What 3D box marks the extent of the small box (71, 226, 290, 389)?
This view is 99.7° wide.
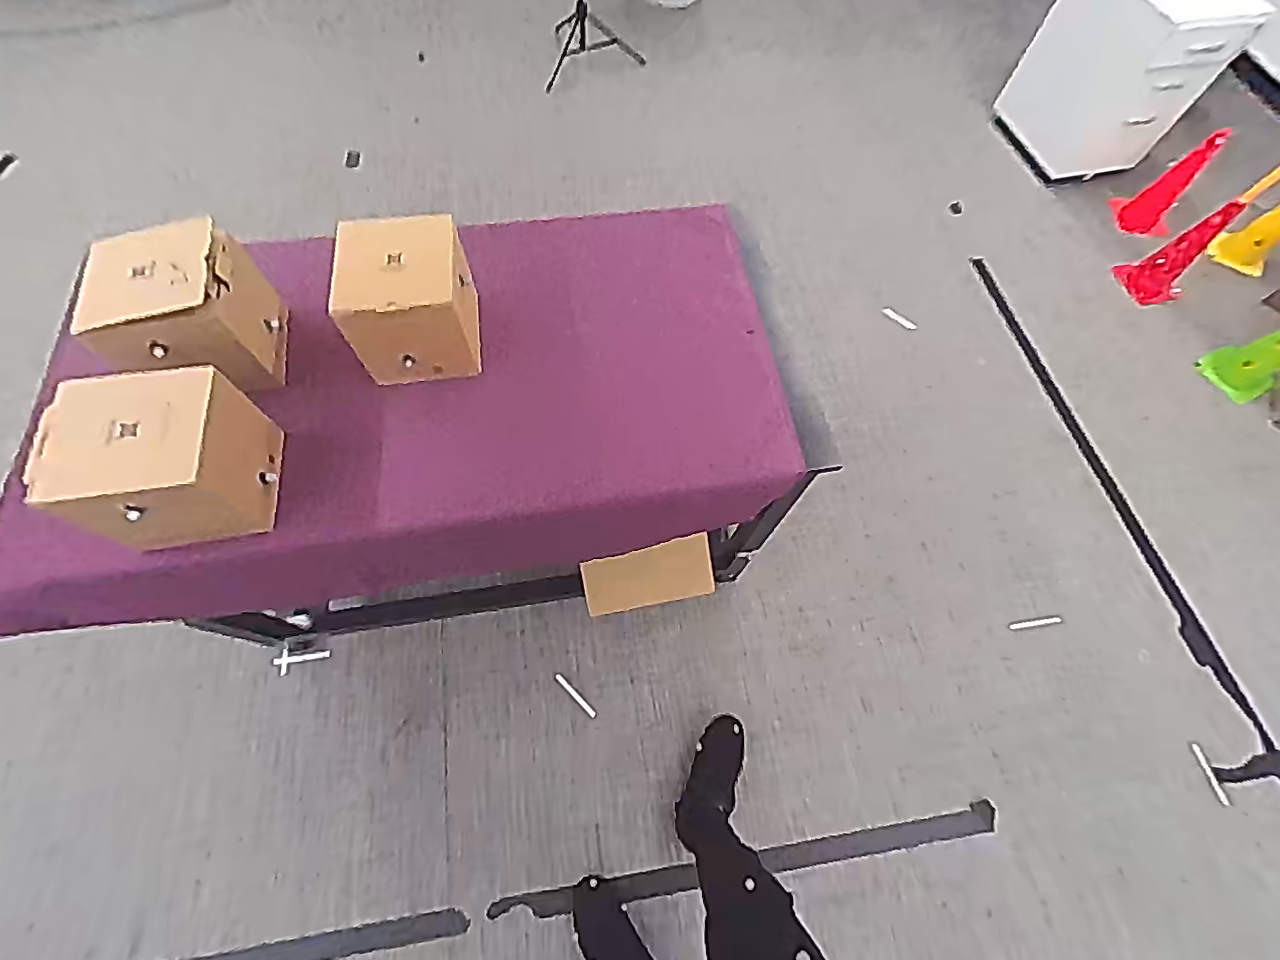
[{"bbox_3d":[-0.659,-0.242,0.801,0.179,0.176,0.168,-10,67,-8],"label":"small box"}]

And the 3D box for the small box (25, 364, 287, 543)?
[{"bbox_3d":[-0.604,-0.027,0.704,0.179,0.176,0.168,-8,66,-7],"label":"small box"}]
